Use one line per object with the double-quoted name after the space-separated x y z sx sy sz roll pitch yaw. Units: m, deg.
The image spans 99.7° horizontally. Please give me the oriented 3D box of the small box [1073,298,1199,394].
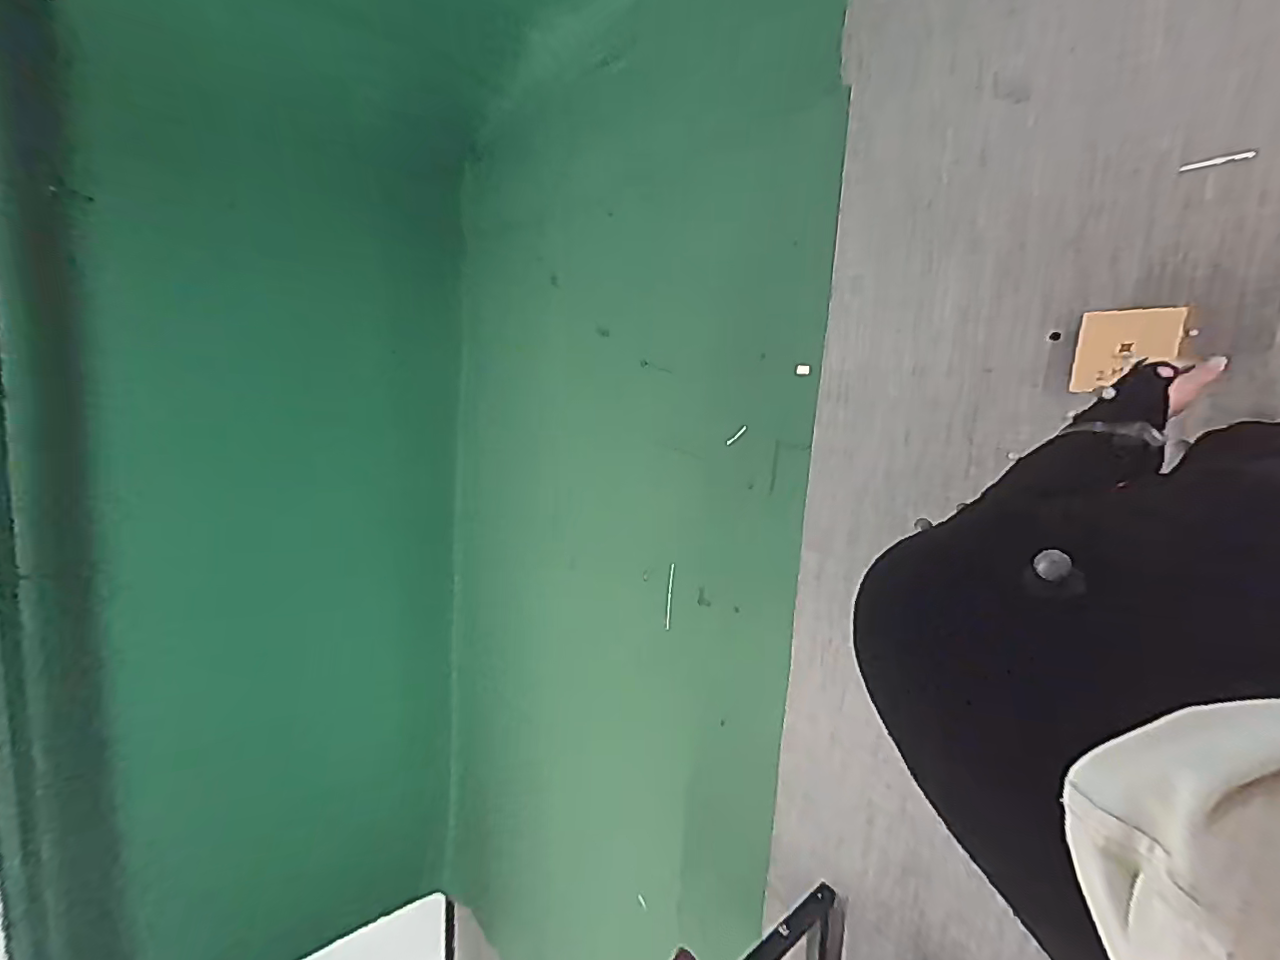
1.082 -0.286 1.177 0.168 0.176 0.179 16 104 49 "small box"
